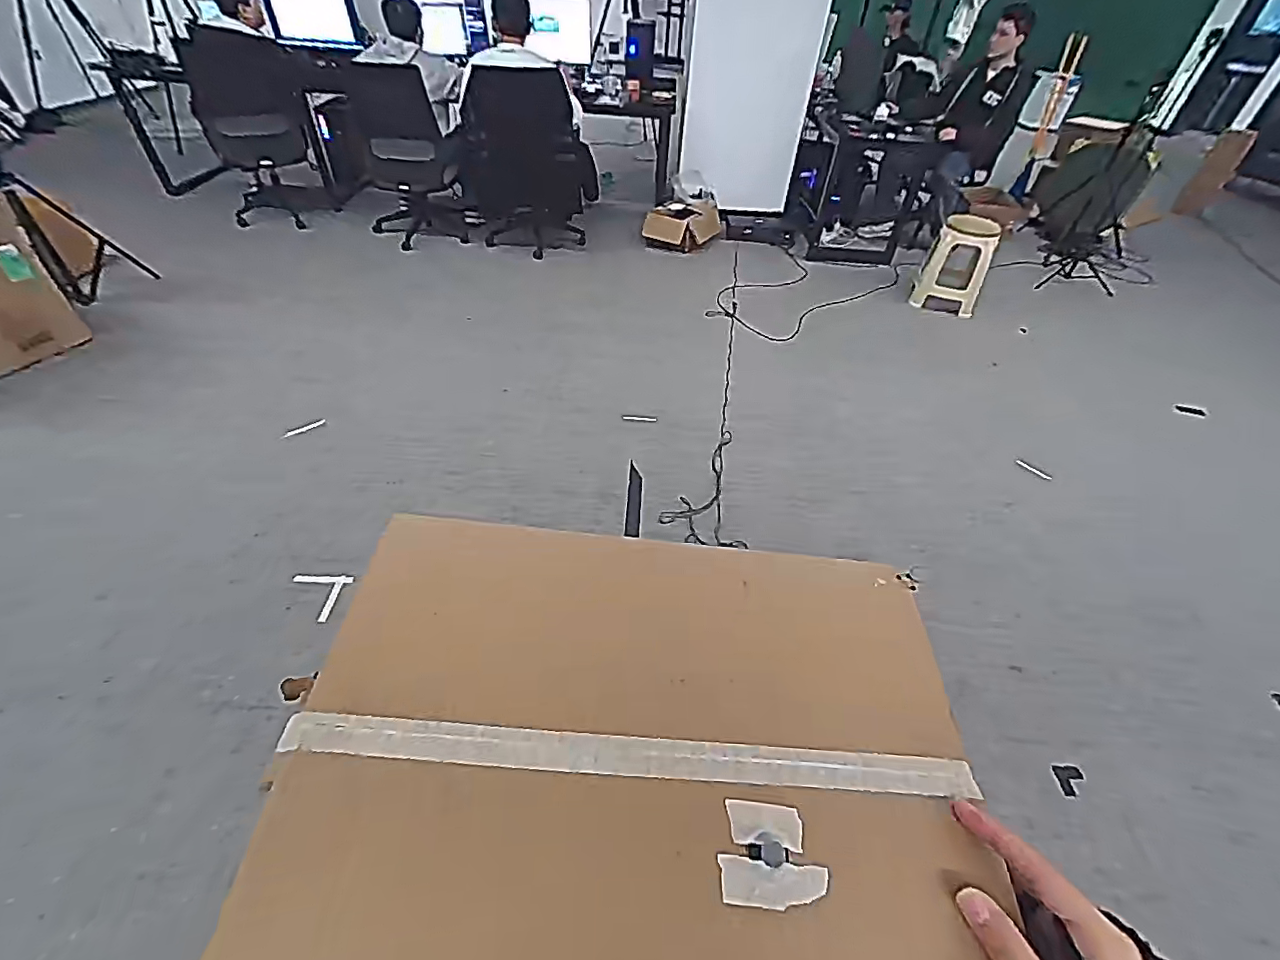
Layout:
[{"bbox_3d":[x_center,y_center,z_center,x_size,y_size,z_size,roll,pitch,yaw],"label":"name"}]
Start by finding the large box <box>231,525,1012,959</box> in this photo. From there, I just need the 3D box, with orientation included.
[{"bbox_3d":[-0.014,0.265,0.446,0.408,0.320,0.320,7,50,-4],"label":"large box"}]
